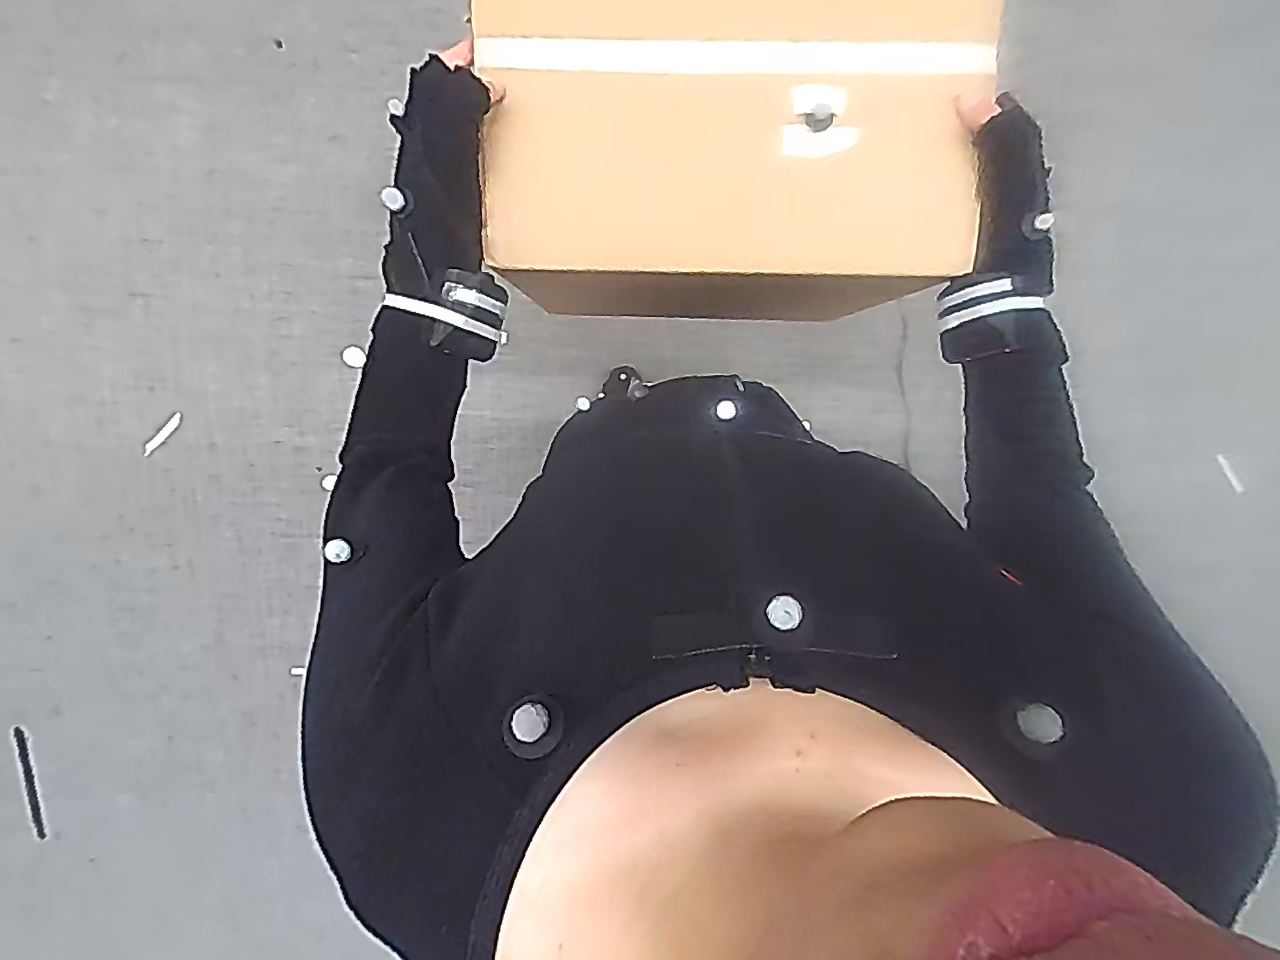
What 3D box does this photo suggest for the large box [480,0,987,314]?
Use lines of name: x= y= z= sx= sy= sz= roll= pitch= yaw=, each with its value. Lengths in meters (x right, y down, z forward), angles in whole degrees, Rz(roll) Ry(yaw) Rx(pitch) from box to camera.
large box: x=0.070 y=-0.359 z=0.577 sx=0.408 sy=0.320 sz=0.320 roll=1 pitch=100 yaw=-1
